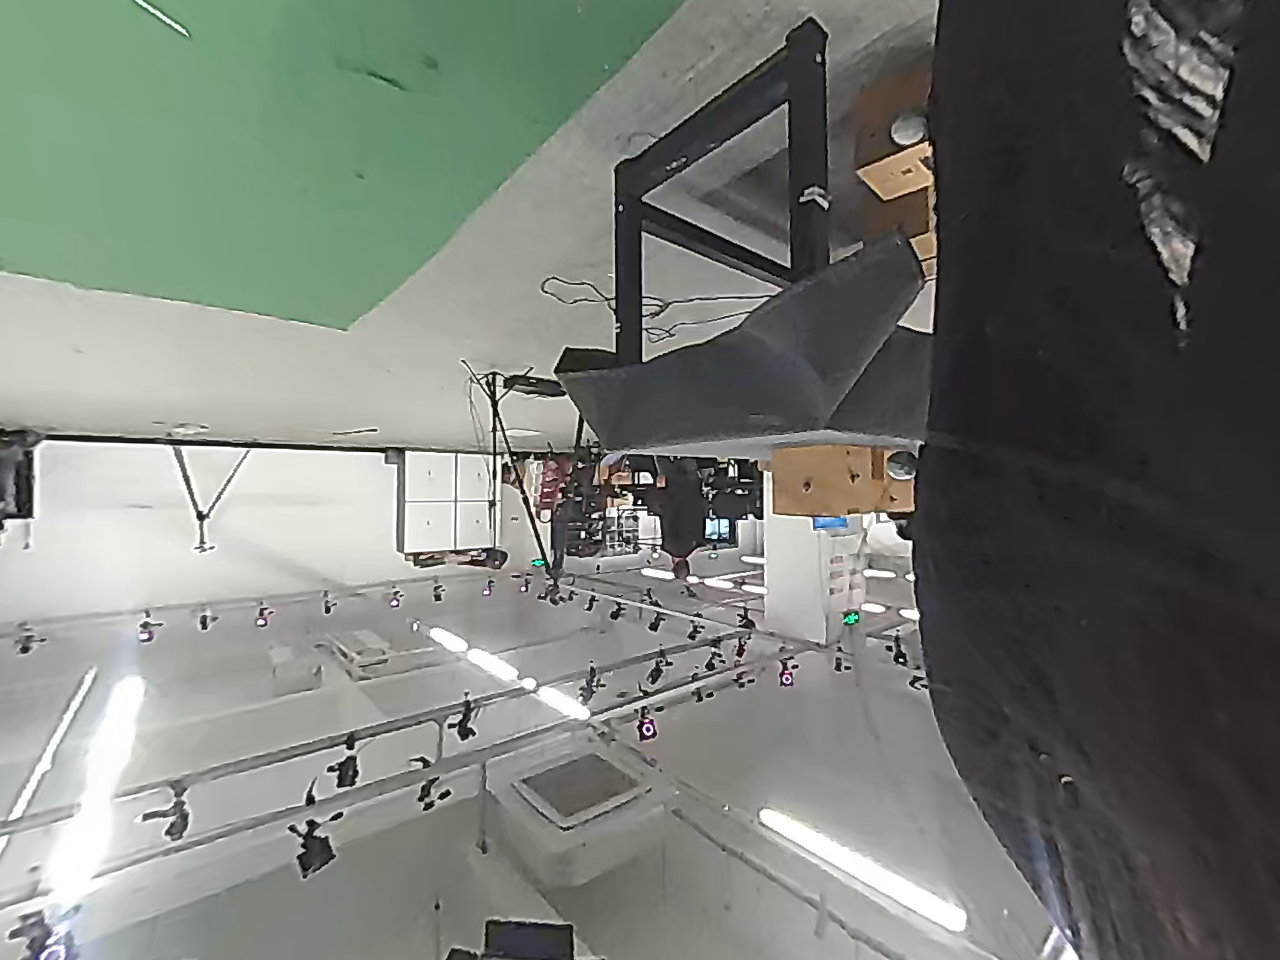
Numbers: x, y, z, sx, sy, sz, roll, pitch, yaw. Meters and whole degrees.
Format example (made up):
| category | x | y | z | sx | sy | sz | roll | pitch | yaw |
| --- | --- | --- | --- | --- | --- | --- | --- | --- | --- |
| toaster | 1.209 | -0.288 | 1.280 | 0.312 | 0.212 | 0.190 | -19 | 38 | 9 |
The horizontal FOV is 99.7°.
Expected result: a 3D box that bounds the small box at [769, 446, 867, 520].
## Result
| category | x | y | z | sx | sy | sz | roll | pitch | yaw |
| --- | --- | --- | --- | --- | --- | --- | --- | --- | --- |
| small box | 0.429 | 0.008 | 1.318 | 0.168 | 0.176 | 0.179 | 1 | 177 | -39 |
